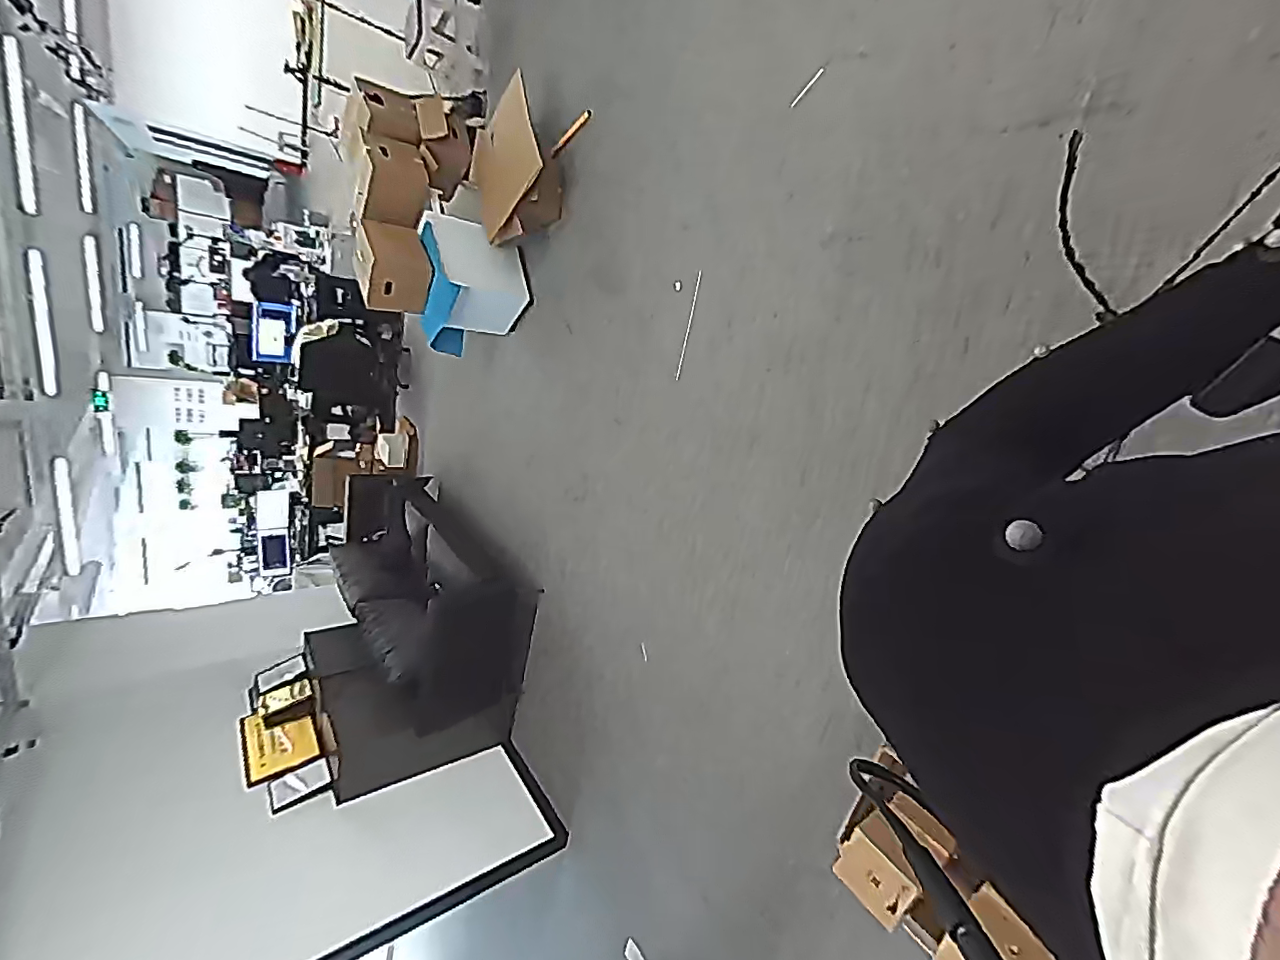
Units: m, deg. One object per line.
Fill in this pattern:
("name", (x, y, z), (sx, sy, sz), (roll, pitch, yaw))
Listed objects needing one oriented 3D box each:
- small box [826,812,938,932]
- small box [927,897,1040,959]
("small box", (0.631, 1.006, 1.412), (0.179, 0.176, 0.168), (37, 118, 44))
("small box", (0.782, 1.115, 1.235), (0.168, 0.176, 0.179), (32, 115, 48))
